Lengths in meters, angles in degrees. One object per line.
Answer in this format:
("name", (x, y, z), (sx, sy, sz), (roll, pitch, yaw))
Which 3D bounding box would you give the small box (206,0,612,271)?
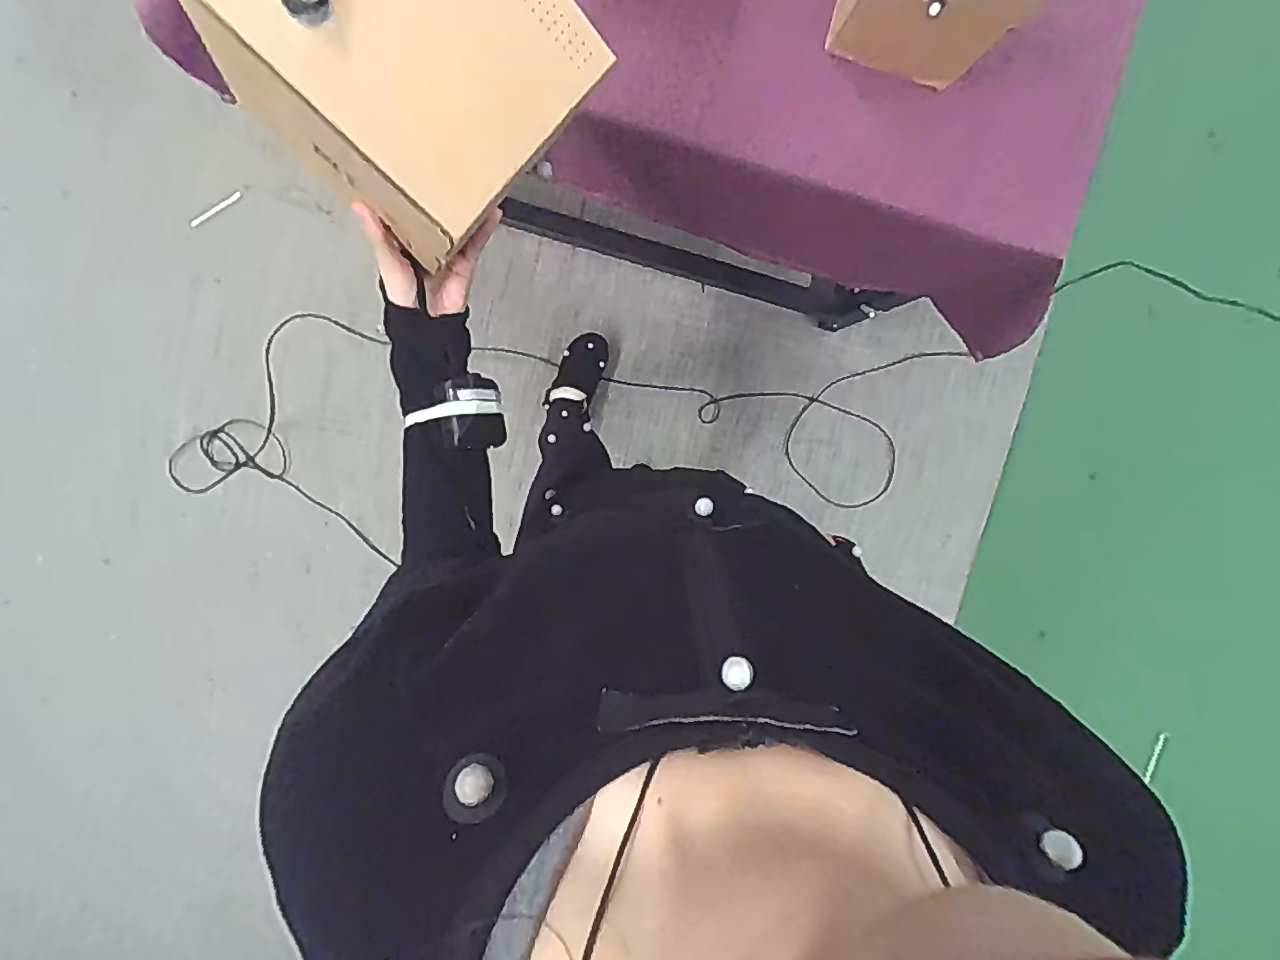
("small box", (-0.154, -0.287, 0.387), (0.179, 0.168, 0.176), (42, 83, -26))

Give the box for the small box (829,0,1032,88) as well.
("small box", (0.351, -0.612, 0.639), (0.179, 0.176, 0.168), (15, 95, -6))
